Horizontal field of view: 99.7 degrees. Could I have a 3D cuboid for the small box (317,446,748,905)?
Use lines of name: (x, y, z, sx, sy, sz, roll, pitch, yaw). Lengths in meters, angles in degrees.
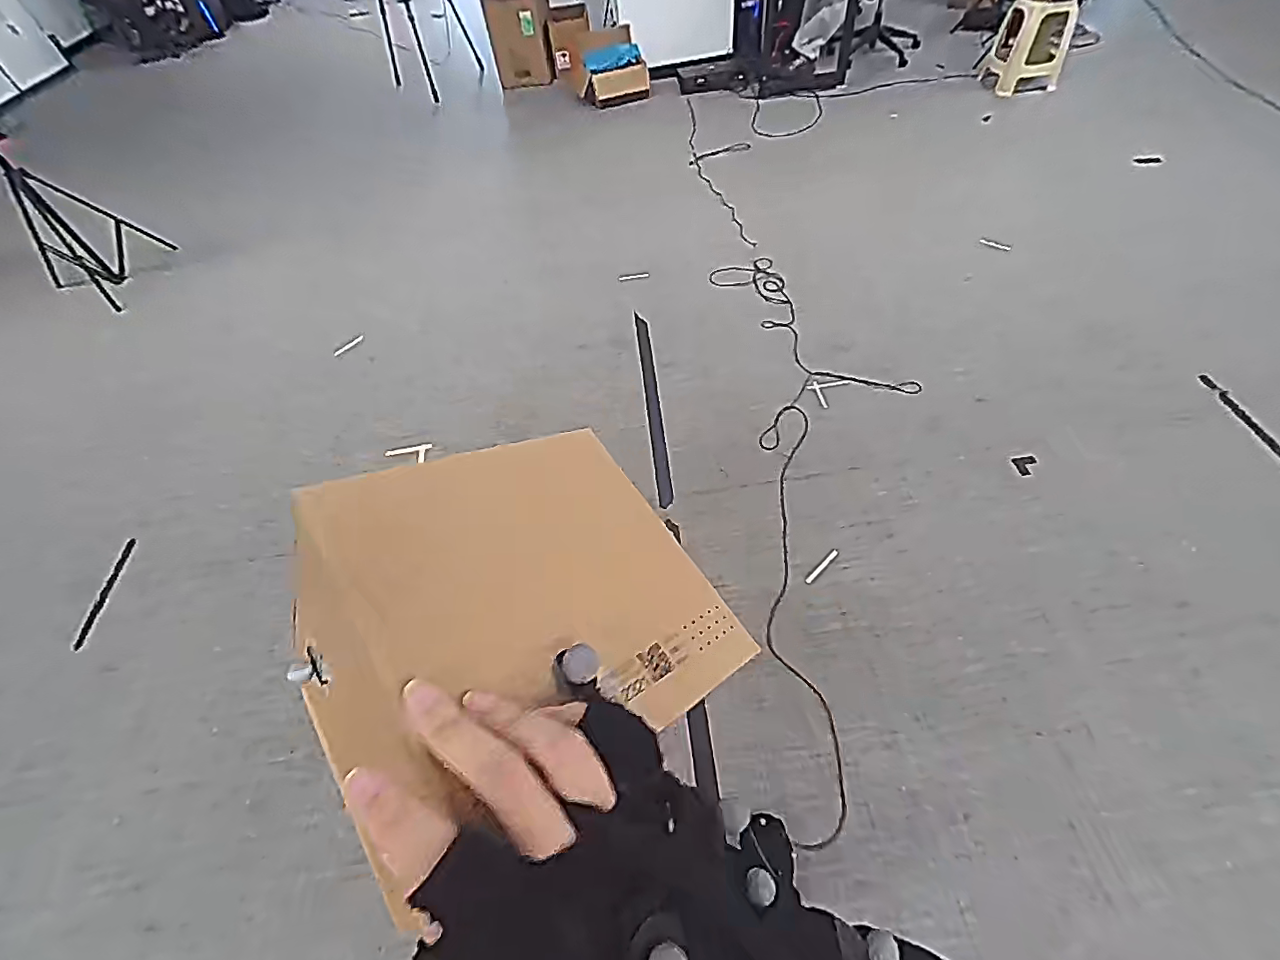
small box: (-0.073, 0.111, 0.324, 0.168, 0.179, 0.176, -19, 62, -41)
